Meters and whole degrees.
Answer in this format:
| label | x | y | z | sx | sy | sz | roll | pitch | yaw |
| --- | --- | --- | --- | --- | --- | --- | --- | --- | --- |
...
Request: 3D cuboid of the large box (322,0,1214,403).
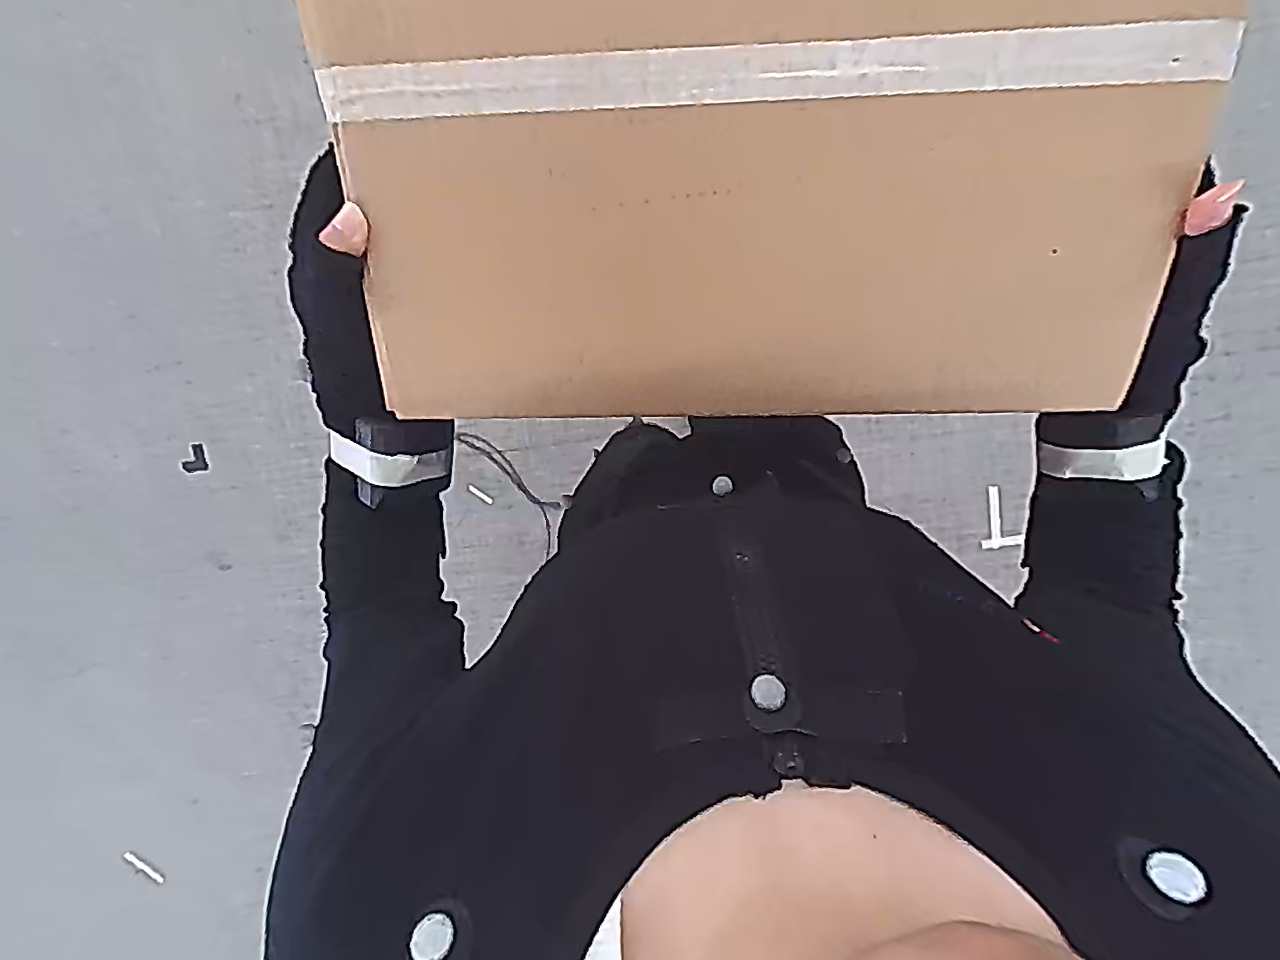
| label | x | y | z | sx | sy | sz | roll | pitch | yaw |
| --- | --- | --- | --- | --- | --- | --- | --- | --- | --- |
| large box | 0.056 | -0.249 | 0.390 | 0.408 | 0.320 | 0.320 | -1 | 113 | 3 |
